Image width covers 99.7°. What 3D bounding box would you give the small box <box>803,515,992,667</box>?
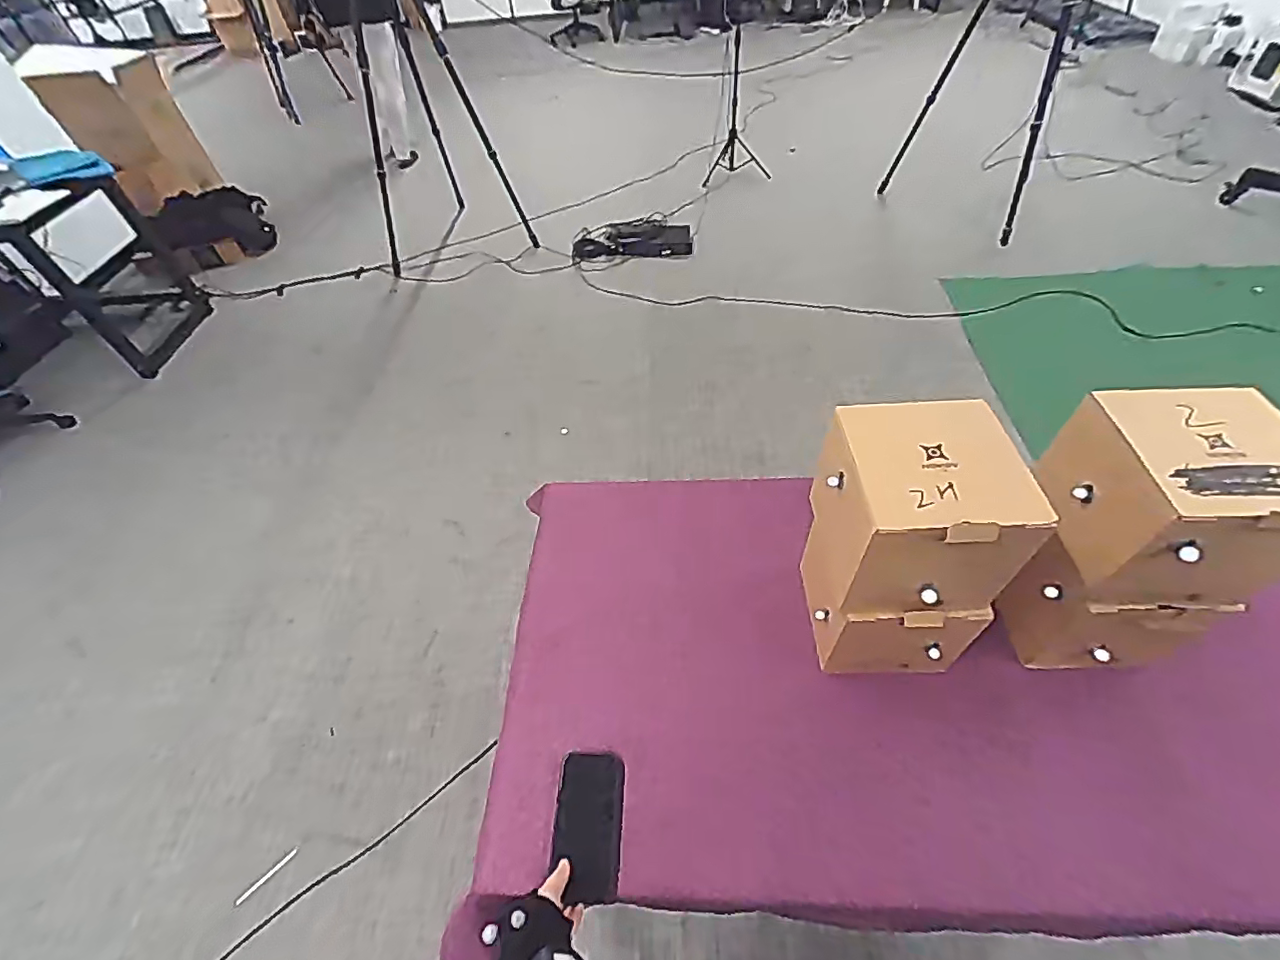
[{"bbox_3d":[0.327,0.142,0.729,0.168,0.176,0.179,-2,49,4],"label":"small box"}]

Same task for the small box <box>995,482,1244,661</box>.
[{"bbox_3d":[0.591,0.122,0.713,0.168,0.176,0.179,-3,51,4],"label":"small box"}]

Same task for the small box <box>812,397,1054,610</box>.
[{"bbox_3d":[0.302,0.028,0.610,0.168,0.176,0.179,-3,50,4],"label":"small box"}]
